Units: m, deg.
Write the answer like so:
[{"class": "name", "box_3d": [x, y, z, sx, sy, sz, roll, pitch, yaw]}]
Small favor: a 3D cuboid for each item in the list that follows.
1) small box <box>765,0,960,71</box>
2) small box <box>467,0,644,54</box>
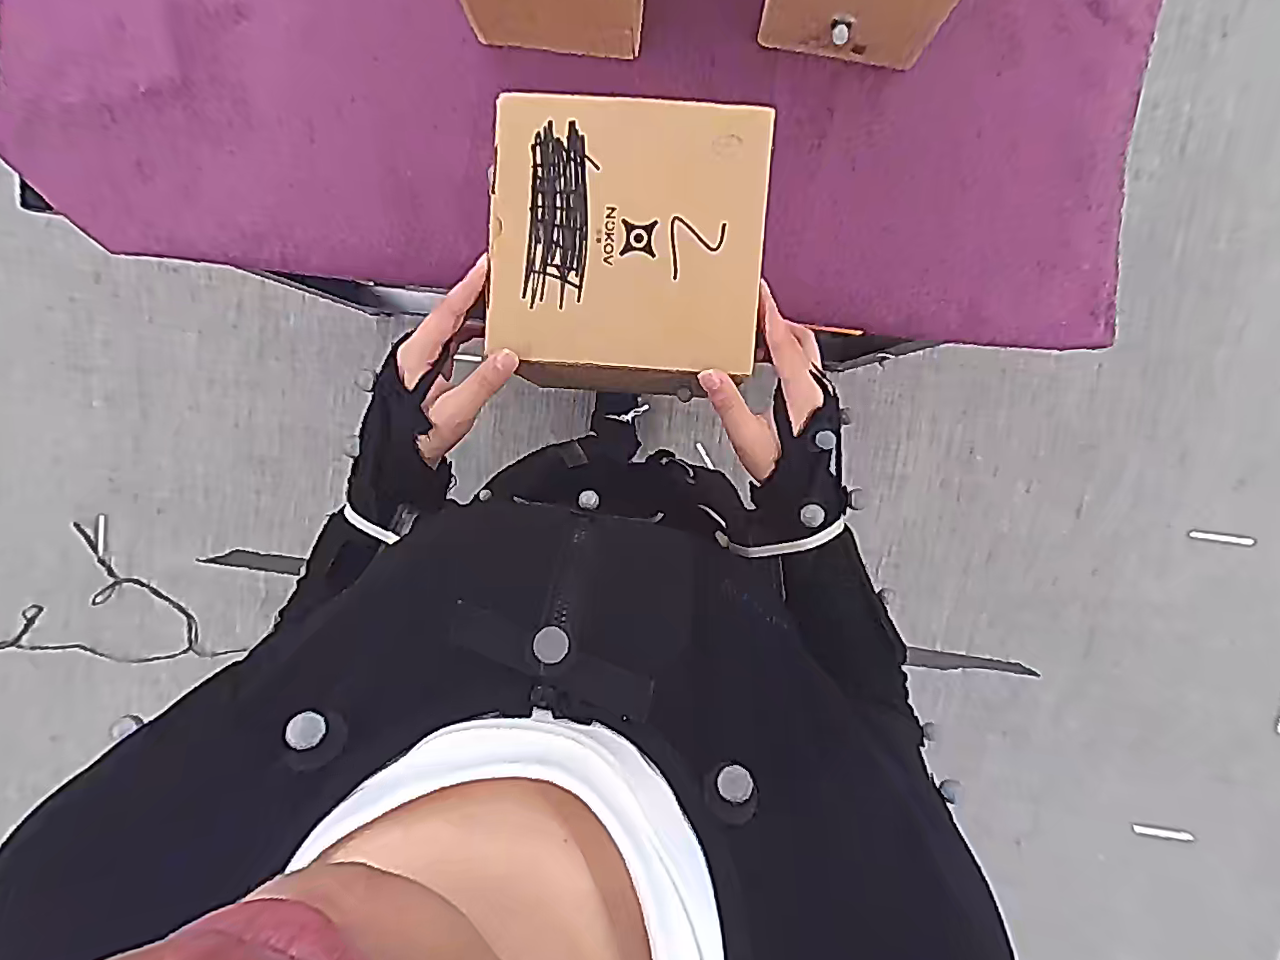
[{"class": "small box", "box_3d": [0.221, -0.524, 0.486, 0.168, 0.176, 0.179, 11, 98, 1]}, {"class": "small box", "box_3d": [-0.082, -0.536, 0.496, 0.179, 0.176, 0.168, 7, 97, 0]}]
